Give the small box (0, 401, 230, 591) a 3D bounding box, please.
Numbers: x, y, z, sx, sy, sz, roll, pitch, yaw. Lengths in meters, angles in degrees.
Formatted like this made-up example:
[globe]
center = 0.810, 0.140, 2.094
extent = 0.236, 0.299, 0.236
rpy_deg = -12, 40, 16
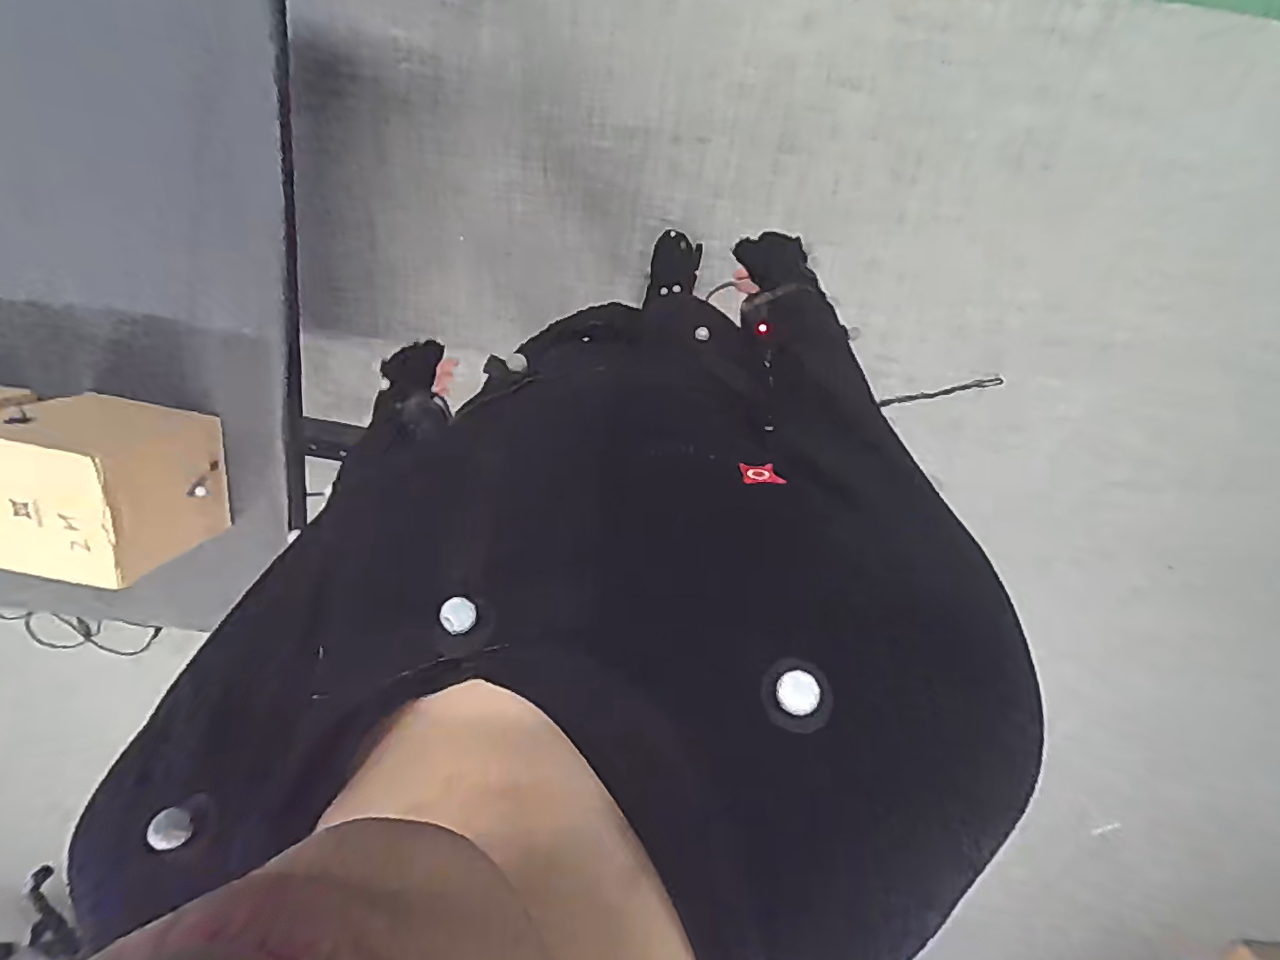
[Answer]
[small box]
center = -0.654, 0.009, 0.663
extent = 0.179, 0.176, 0.168
rpy_deg = 11, 111, -1
